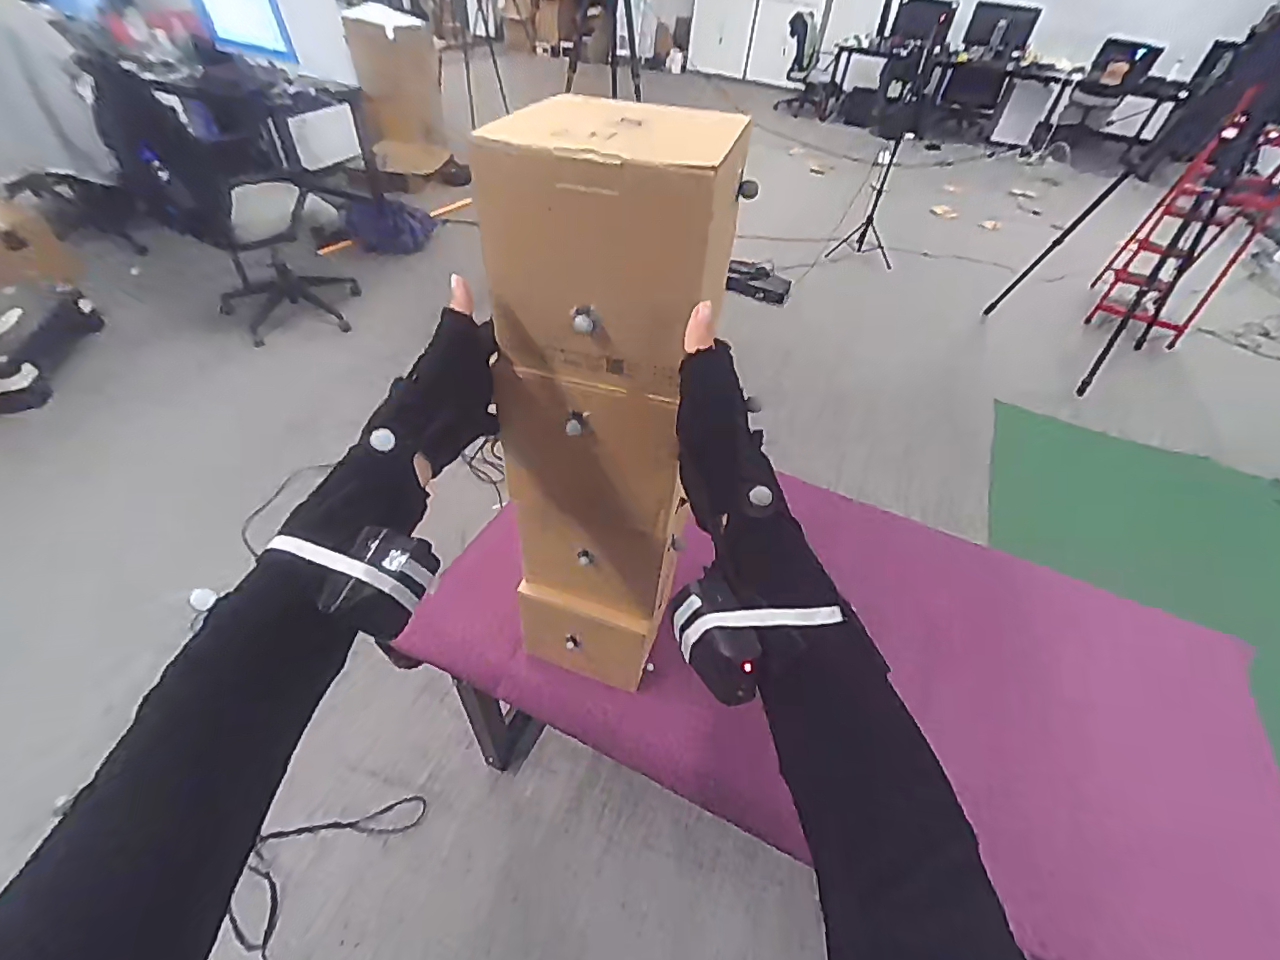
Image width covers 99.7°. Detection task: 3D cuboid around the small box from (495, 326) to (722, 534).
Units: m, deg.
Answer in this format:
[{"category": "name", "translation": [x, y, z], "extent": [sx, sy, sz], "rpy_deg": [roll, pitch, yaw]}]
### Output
[{"category": "small box", "translation": [-0.026, -0.067, 0.562], "extent": [0.179, 0.176, 0.168], "rpy_deg": [13, 45, 8]}]

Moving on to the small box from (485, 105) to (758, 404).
[{"category": "small box", "translation": [-0.009, -0.191, 0.455], "extent": [0.168, 0.176, 0.179], "rpy_deg": [14, 45, 9]}]

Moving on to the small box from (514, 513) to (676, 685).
[{"category": "small box", "translation": [-0.062, 0.171, 0.785], "extent": [0.179, 0.176, 0.168], "rpy_deg": [17, 45, 10]}]
